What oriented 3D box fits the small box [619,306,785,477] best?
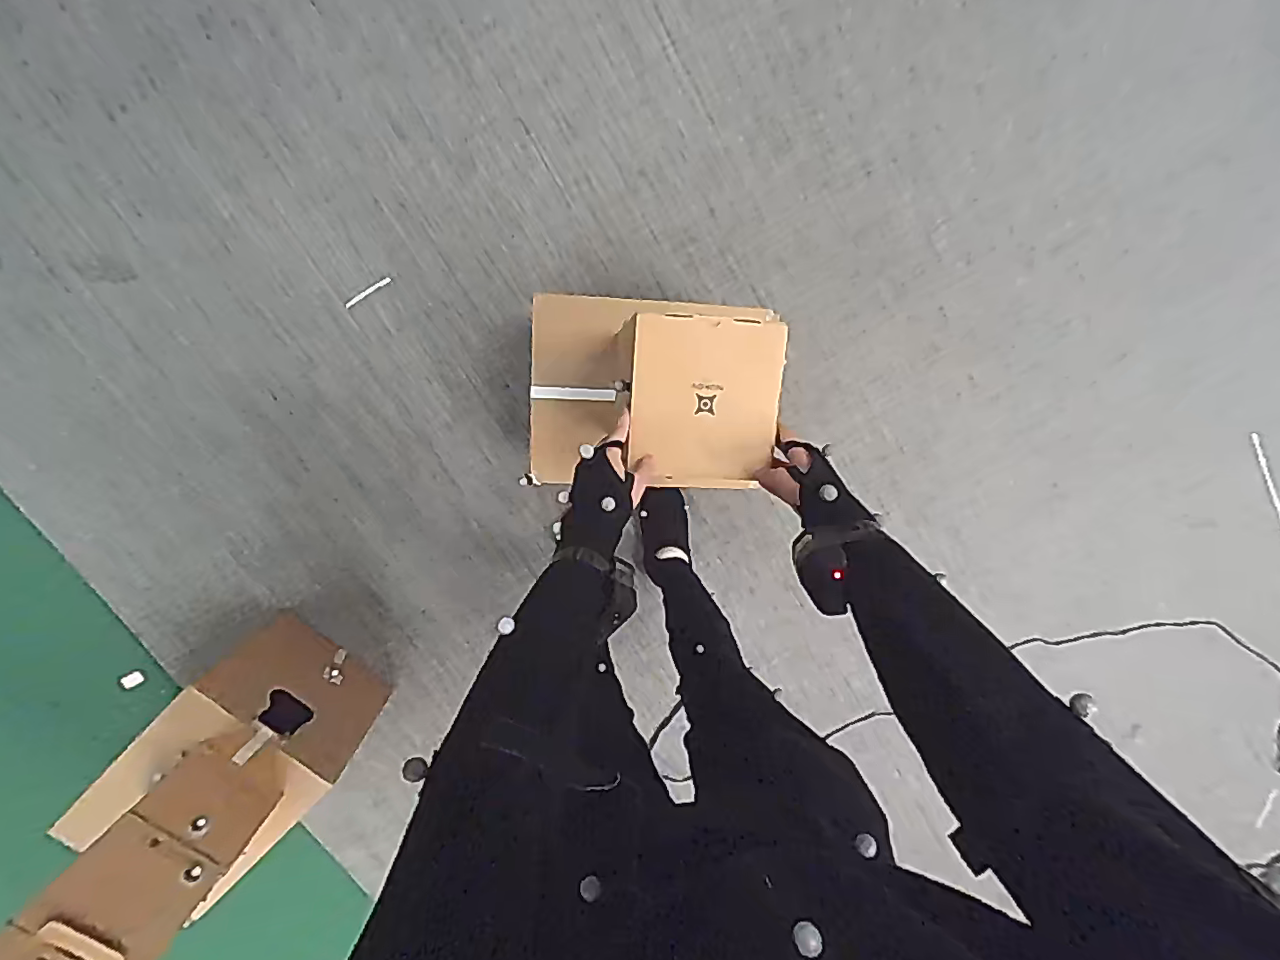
[{"bbox_3d":[0.063,-0.106,0.663,0.168,0.176,0.179,3,100,-5],"label":"small box"}]

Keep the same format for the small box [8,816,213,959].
[{"bbox_3d":[-0.739,0.611,0.734,0.168,0.176,0.179,43,95,-11],"label":"small box"}]

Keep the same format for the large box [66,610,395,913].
[{"bbox_3d":[-0.811,0.560,1.135,0.320,0.320,0.408,44,96,-10],"label":"large box"}]

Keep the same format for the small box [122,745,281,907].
[{"bbox_3d":[-0.753,0.585,0.895,0.168,0.176,0.179,-44,101,4],"label":"small box"}]
